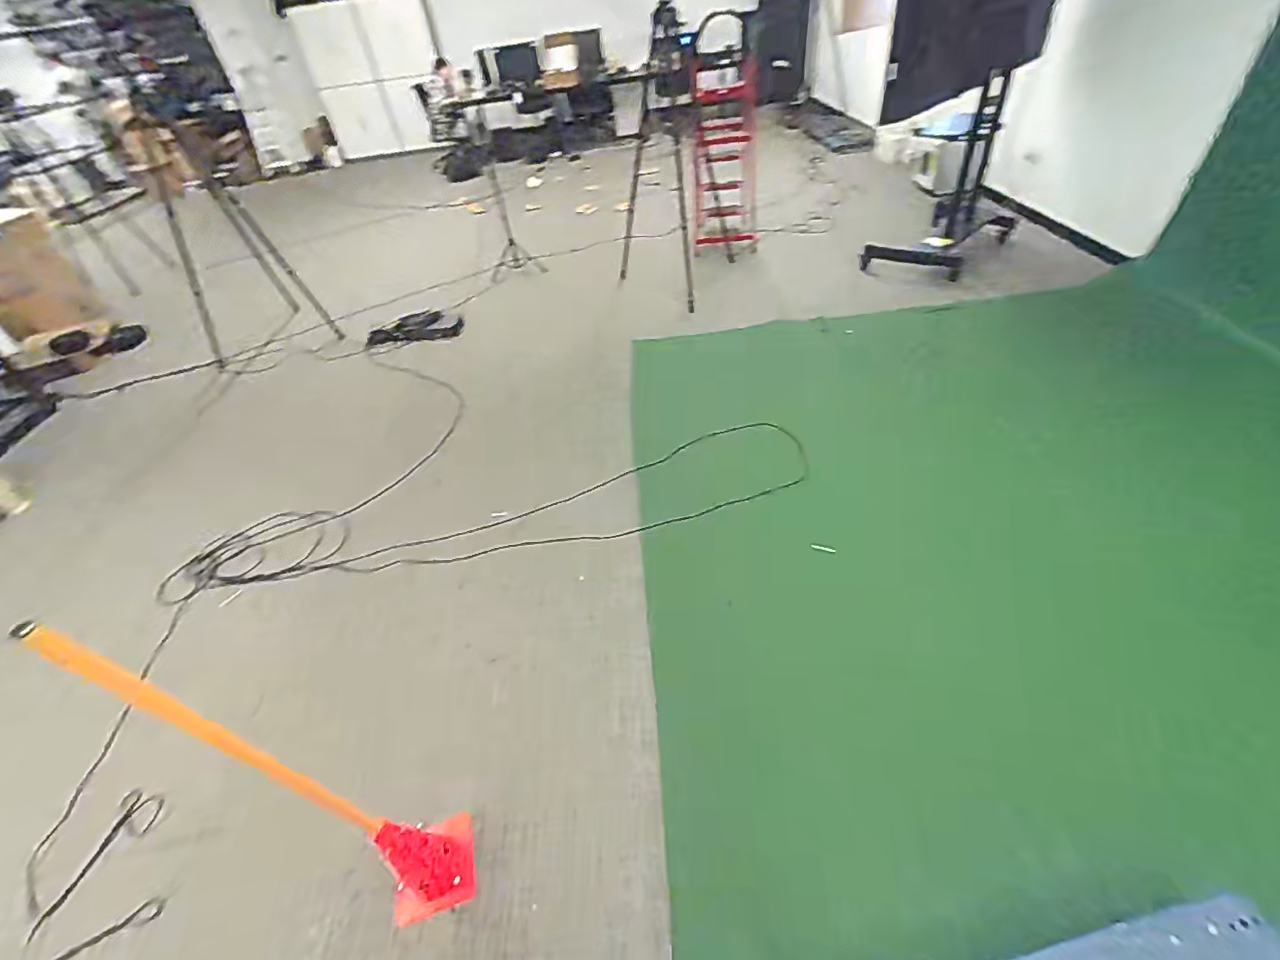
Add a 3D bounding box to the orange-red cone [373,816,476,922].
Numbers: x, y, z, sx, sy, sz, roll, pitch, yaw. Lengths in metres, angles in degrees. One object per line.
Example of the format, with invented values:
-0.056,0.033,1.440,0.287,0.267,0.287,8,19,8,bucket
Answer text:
-0.548,0.881,1.296,0.198,0.360,0.199,-16,42,-9,orange-red cone
